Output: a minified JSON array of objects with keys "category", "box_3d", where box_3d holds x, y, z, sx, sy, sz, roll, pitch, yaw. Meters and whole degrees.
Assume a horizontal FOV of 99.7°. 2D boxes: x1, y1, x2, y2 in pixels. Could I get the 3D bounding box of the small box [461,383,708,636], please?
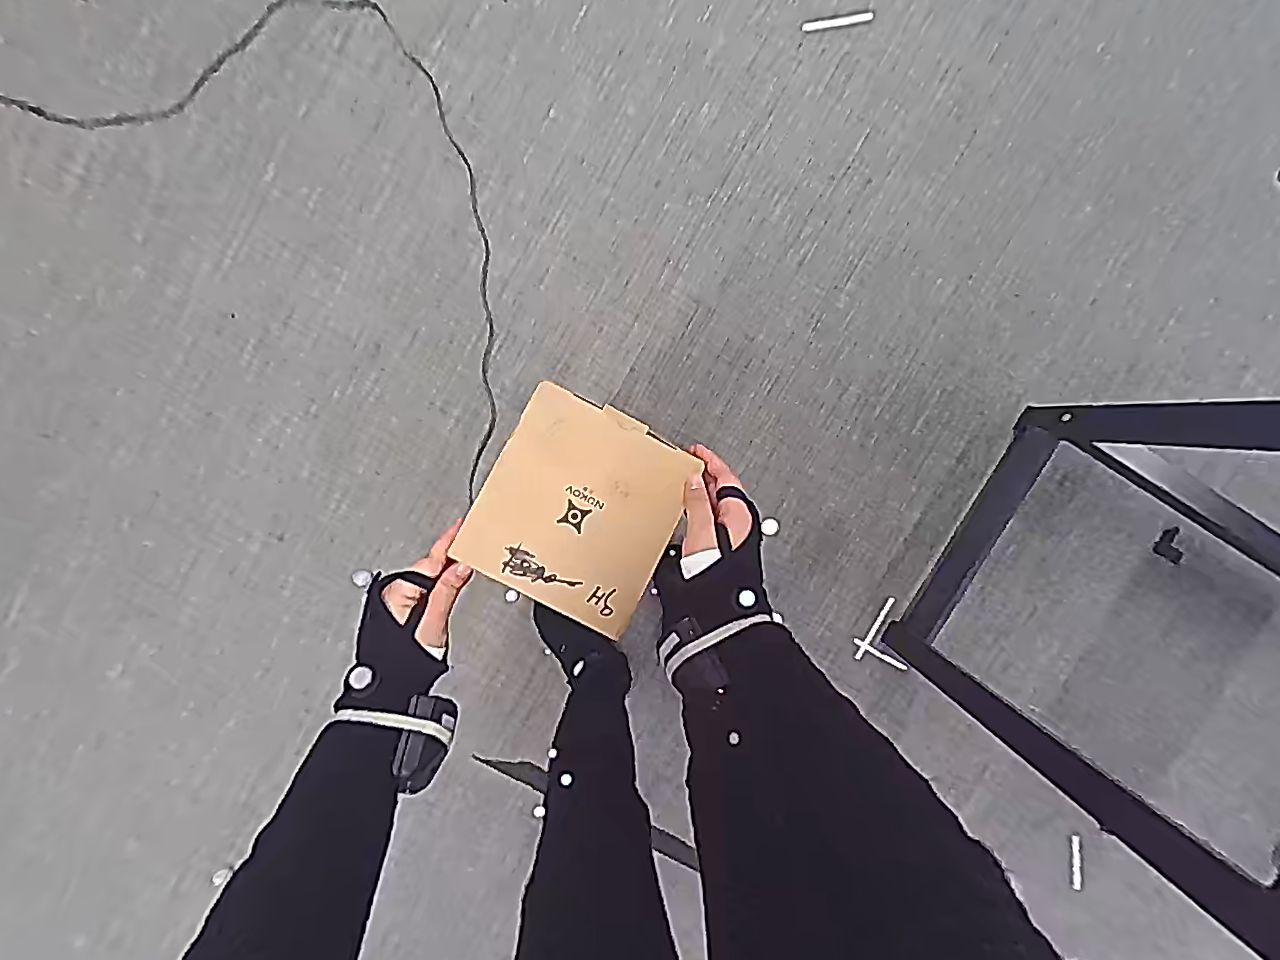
[{"category":"small box","box_3d":[-0.054,0.031,0.557,0.168,0.176,0.179,27,84,-2]}]
